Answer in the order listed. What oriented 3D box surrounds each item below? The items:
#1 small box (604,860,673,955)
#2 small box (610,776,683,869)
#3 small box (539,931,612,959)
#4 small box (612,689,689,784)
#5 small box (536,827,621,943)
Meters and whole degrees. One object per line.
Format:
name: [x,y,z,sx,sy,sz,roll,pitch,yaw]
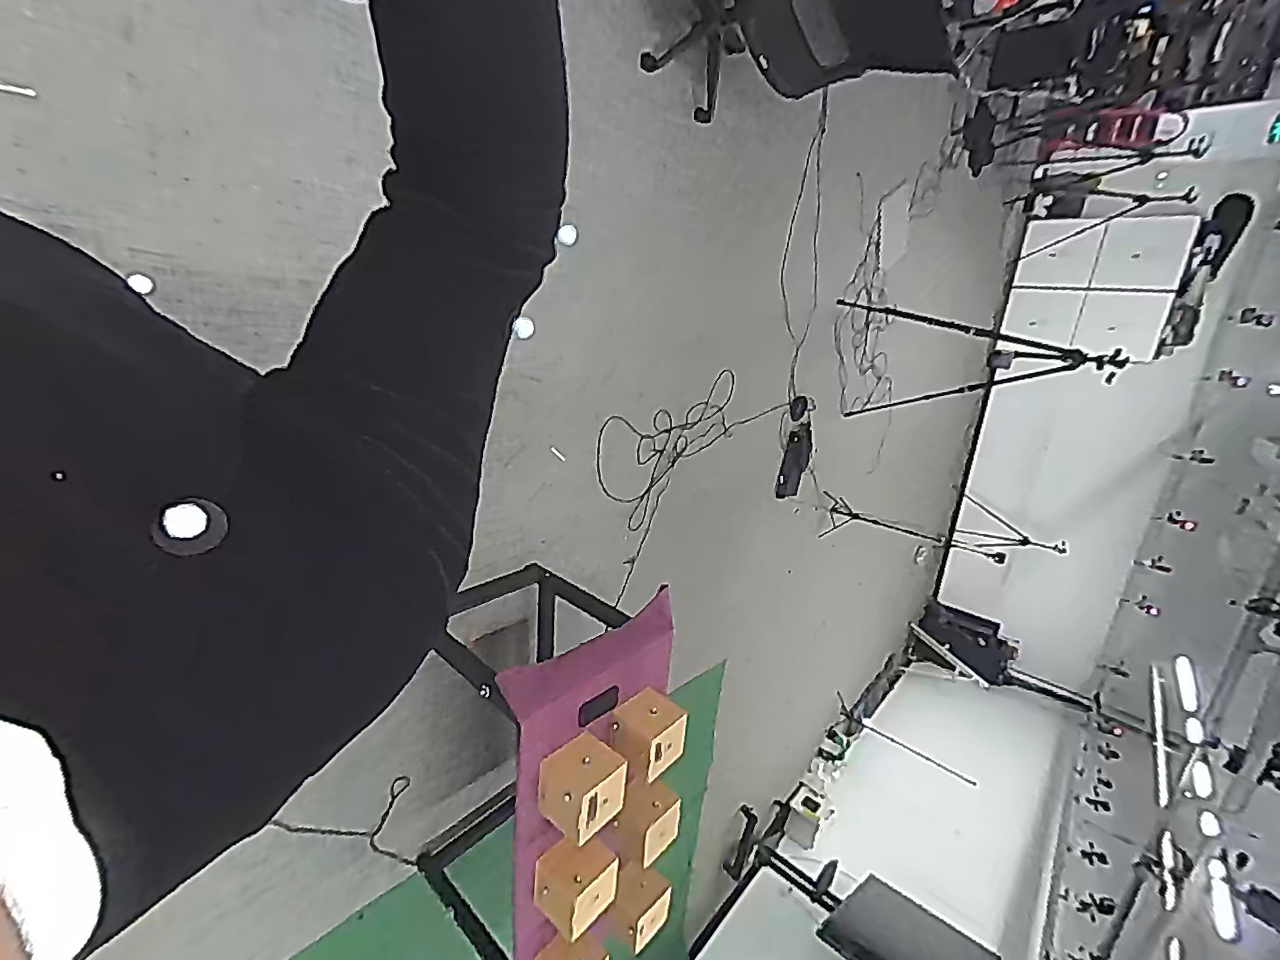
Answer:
small box: [-0.006,1.505,1.925,0.179,0.176,0.168,-13,113,-47]
small box: [0.022,1.133,1.814,0.179,0.176,0.168,-14,114,-46]
small box: [-0.209,1.555,1.697,0.179,0.176,0.168,-15,114,-46]
small box: [0.030,0.790,1.687,0.179,0.176,0.168,-15,116,-47]
small box: [-0.181,1.175,1.588,0.179,0.176,0.168,-13,114,-48]
